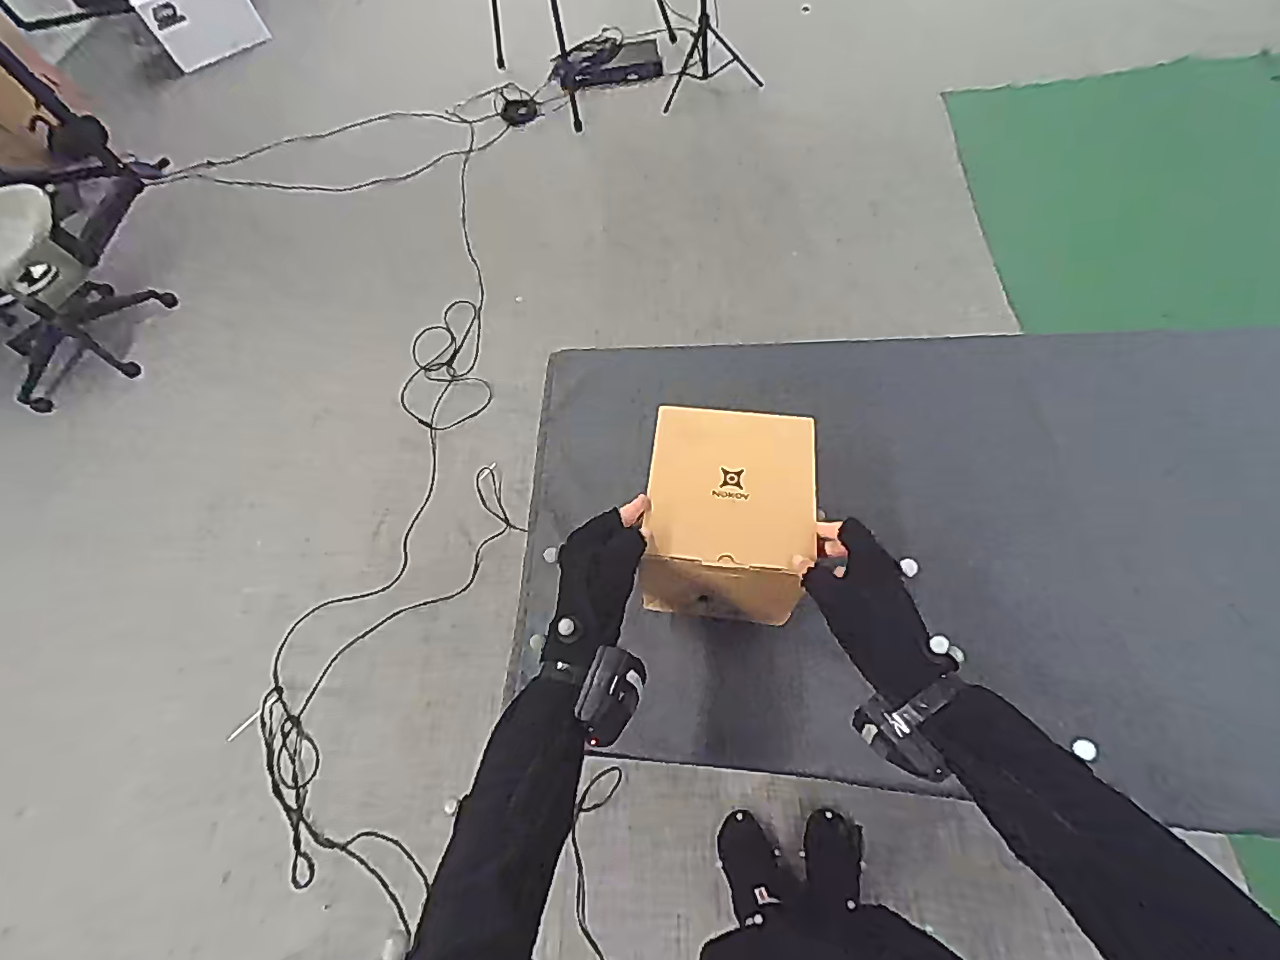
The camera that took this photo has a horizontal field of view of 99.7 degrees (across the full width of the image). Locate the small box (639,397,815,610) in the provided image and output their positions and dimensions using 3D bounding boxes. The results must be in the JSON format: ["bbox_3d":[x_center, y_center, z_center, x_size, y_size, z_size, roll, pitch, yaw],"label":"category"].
[{"bbox_3d":[0.093,0.032,0.606,0.168,0.176,0.179,5,63,6],"label":"small box"}]
